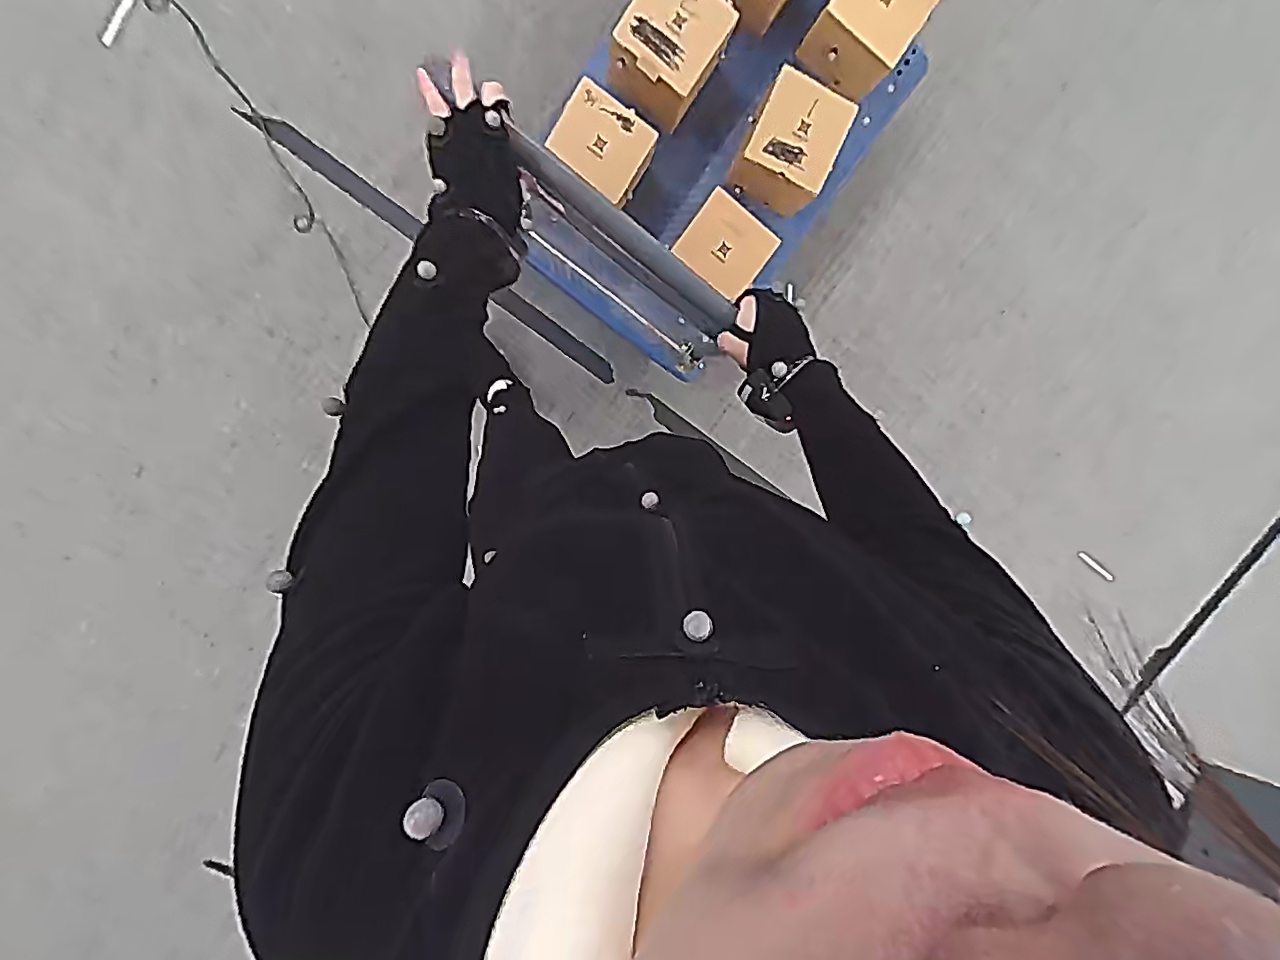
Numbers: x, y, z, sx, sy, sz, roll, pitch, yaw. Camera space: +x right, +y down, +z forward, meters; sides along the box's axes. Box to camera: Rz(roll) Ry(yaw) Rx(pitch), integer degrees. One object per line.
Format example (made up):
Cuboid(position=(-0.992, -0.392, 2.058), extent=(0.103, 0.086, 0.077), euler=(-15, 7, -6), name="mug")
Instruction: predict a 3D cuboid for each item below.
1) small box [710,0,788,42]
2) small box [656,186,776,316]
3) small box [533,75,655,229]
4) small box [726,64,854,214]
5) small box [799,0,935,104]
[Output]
Cuboid(position=(0.235, -1.008, 1.027), extent=(0.168, 0.176, 0.179), euler=(38, 96, -12), name="small box")
Cuboid(position=(0.149, -0.466, 1.136), extent=(0.168, 0.176, 0.179), euler=(36, 95, -12), name="small box")
Cuboid(position=(-0.091, -0.632, 1.073), extent=(0.168, 0.176, 0.179), euler=(32, 97, -12), name="small box")
Cuboid(position=(0.293, -0.679, 1.105), extent=(0.168, 0.176, 0.179), euler=(24, 98, -10), name="small box")
Cuboid(position=(0.442, -0.905, 1.073), extent=(0.168, 0.176, 0.179), euler=(33, 97, -11), name="small box")
